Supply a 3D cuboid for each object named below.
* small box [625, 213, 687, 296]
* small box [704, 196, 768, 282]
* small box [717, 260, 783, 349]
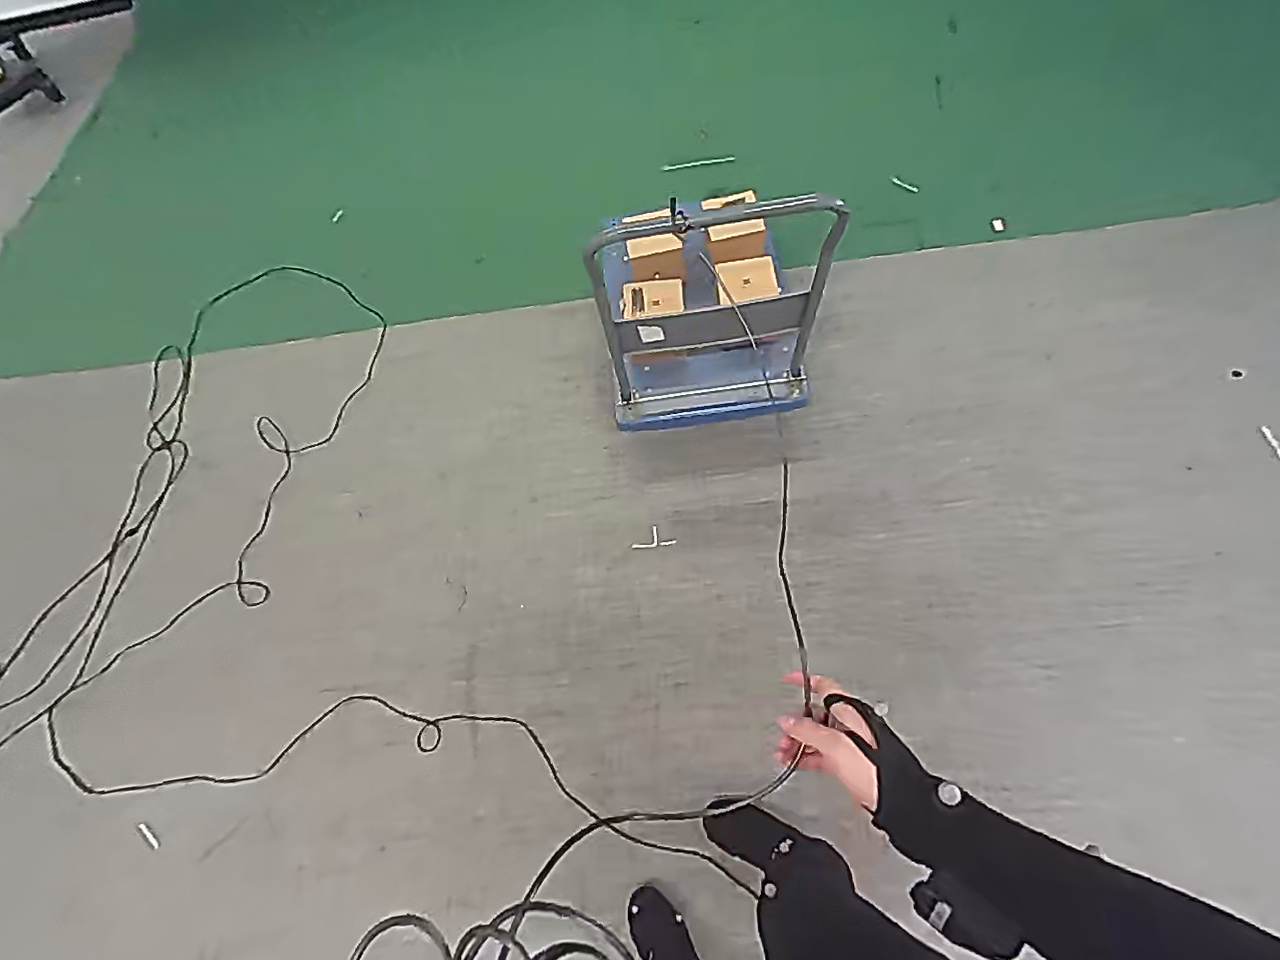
[{"bbox_3d":[0.054,-0.713,1.736,0.168,0.176,0.179,-10,64,3],"label":"small box"},{"bbox_3d":[0.300,-0.761,1.721,0.168,0.176,0.179,-11,66,4],"label":"small box"},{"bbox_3d":[0.321,-0.518,1.607,0.168,0.176,0.179,-6,66,5],"label":"small box"}]
